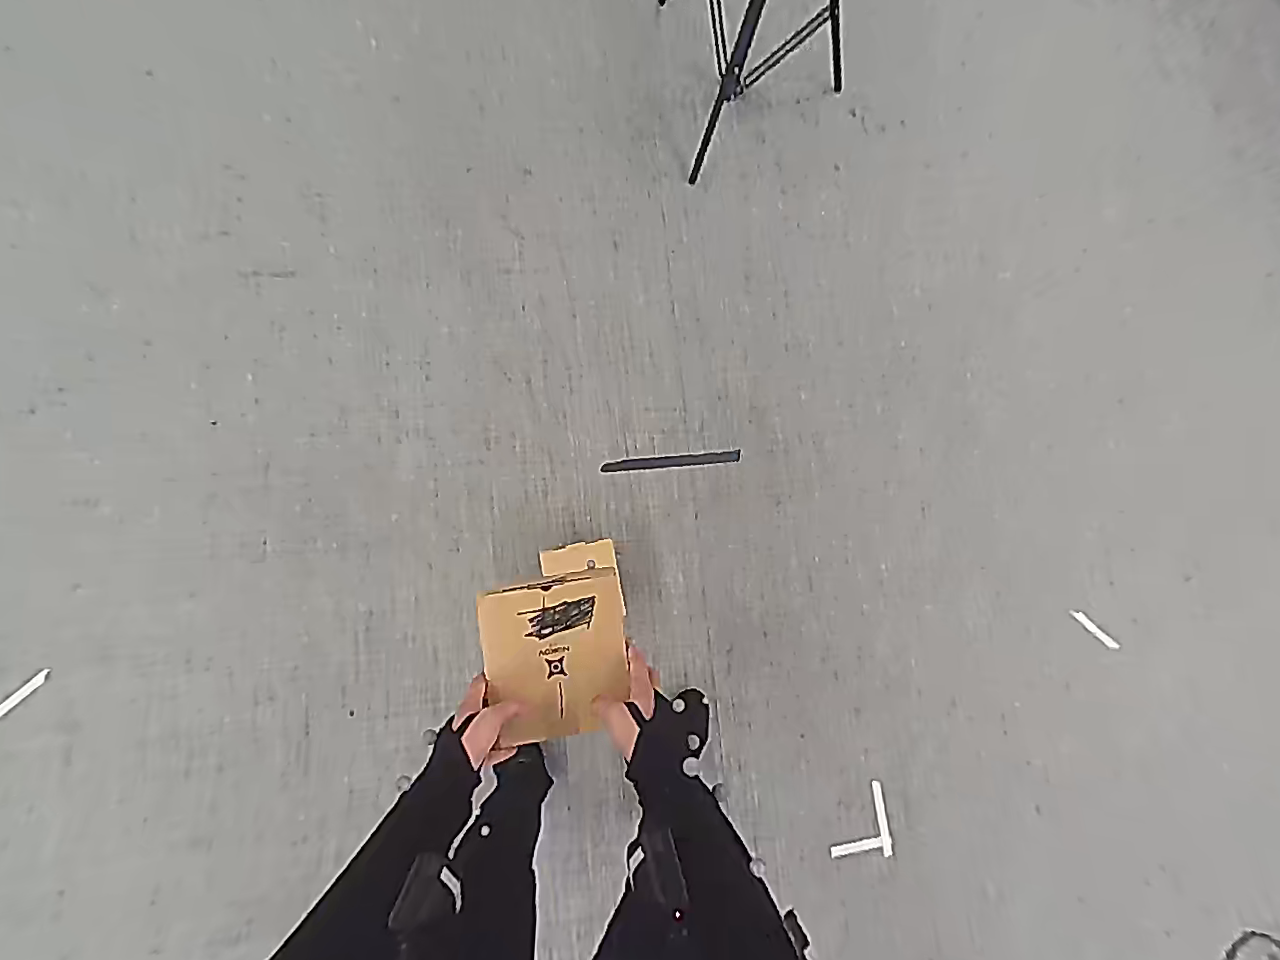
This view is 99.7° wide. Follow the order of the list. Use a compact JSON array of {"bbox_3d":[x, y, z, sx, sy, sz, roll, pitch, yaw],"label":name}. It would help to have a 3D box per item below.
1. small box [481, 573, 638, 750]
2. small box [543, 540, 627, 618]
[{"bbox_3d":[-0.099,0.218,0.699,0.168,0.176,0.179,-8,84,-4],"label":"small box"},{"bbox_3d":[-0.132,0.245,1.269,0.168,0.176,0.179,-10,82,-7],"label":"small box"}]
